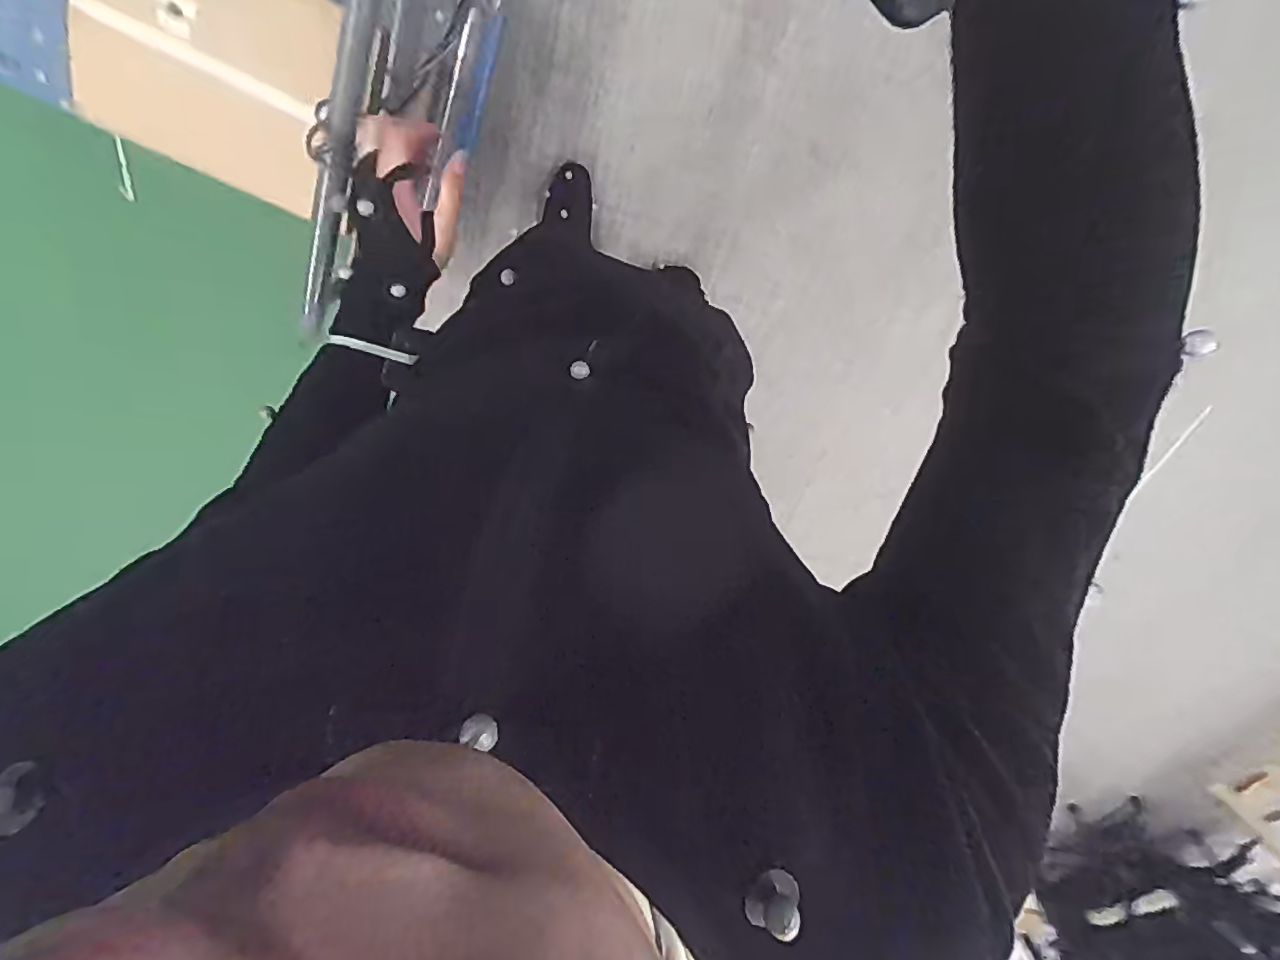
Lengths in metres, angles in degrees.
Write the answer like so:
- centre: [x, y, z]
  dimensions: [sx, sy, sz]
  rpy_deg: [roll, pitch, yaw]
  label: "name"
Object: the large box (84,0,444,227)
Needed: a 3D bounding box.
- centre: [-0.612, -0.700, 0.943]
  dimensions: [0.408, 0.320, 0.320]
  rpy_deg: [22, 118, -14]
  label: "large box"
